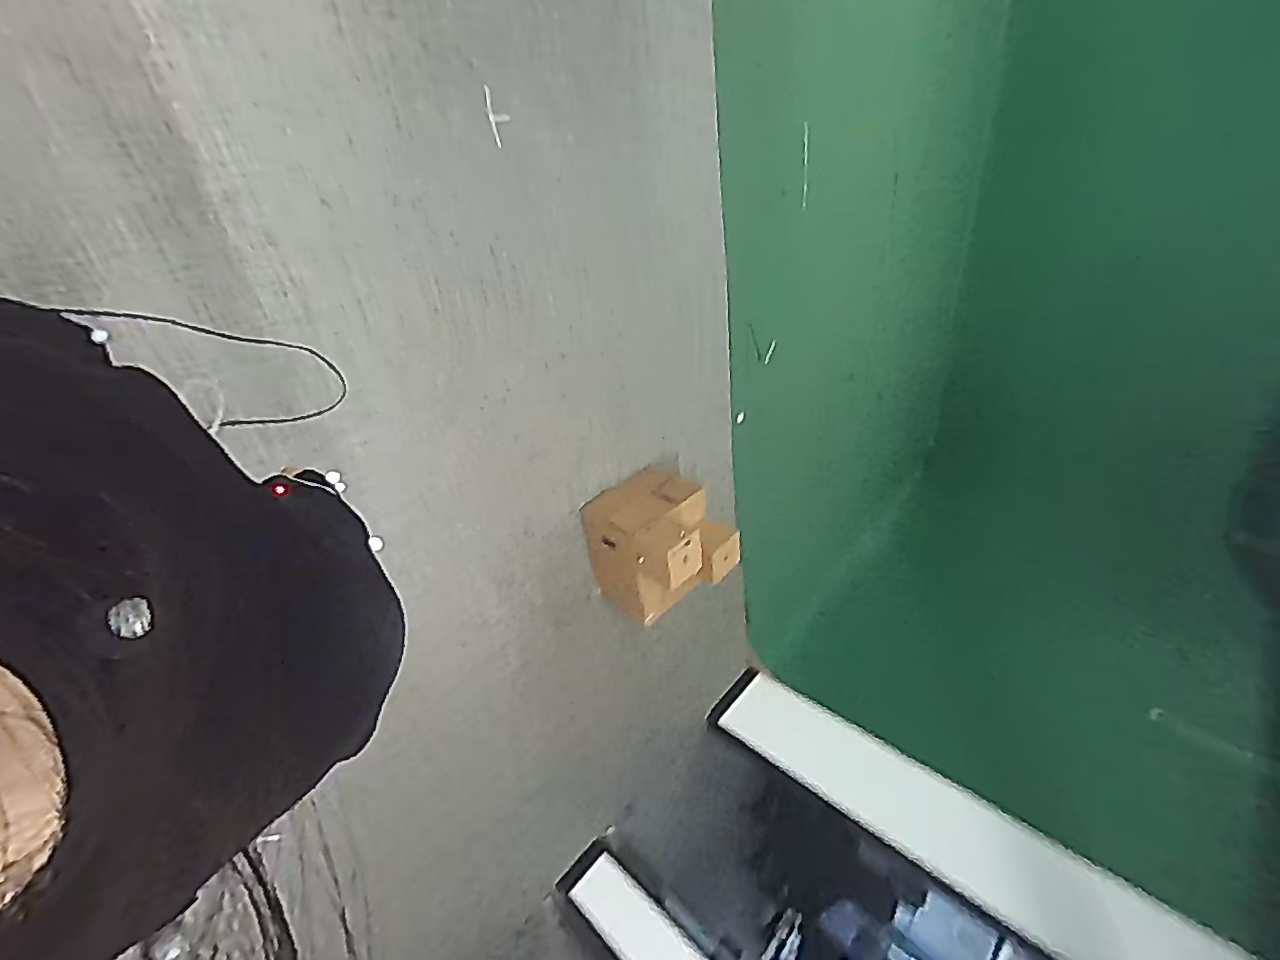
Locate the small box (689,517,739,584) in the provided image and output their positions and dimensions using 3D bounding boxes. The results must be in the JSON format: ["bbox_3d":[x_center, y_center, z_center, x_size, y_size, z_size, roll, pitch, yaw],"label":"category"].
[{"bbox_3d":[0.268,0.273,2.133,0.179,0.176,0.168,-36,132,-34],"label":"small box"}]

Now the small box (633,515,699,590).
[{"bbox_3d":[0.094,0.252,1.924,0.168,0.176,0.179,-31,128,-35],"label":"small box"}]
